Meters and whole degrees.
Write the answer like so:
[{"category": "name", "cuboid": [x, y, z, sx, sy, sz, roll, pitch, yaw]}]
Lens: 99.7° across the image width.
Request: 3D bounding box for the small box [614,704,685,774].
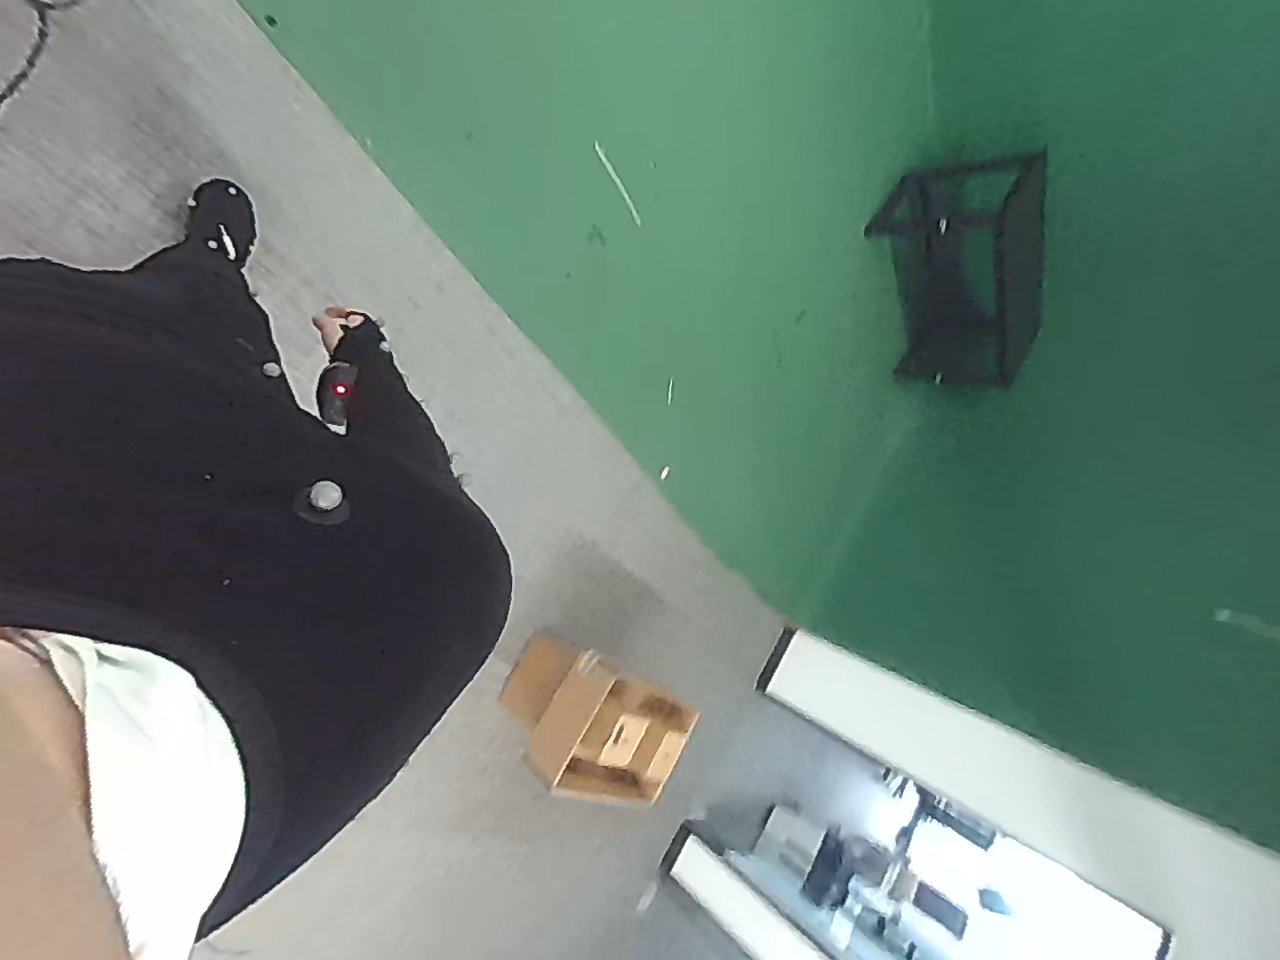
[{"category": "small box", "cuboid": [0.033, 0.977, 2.047, 0.168, 0.176, 0.179, 39, 76, -46]}]
